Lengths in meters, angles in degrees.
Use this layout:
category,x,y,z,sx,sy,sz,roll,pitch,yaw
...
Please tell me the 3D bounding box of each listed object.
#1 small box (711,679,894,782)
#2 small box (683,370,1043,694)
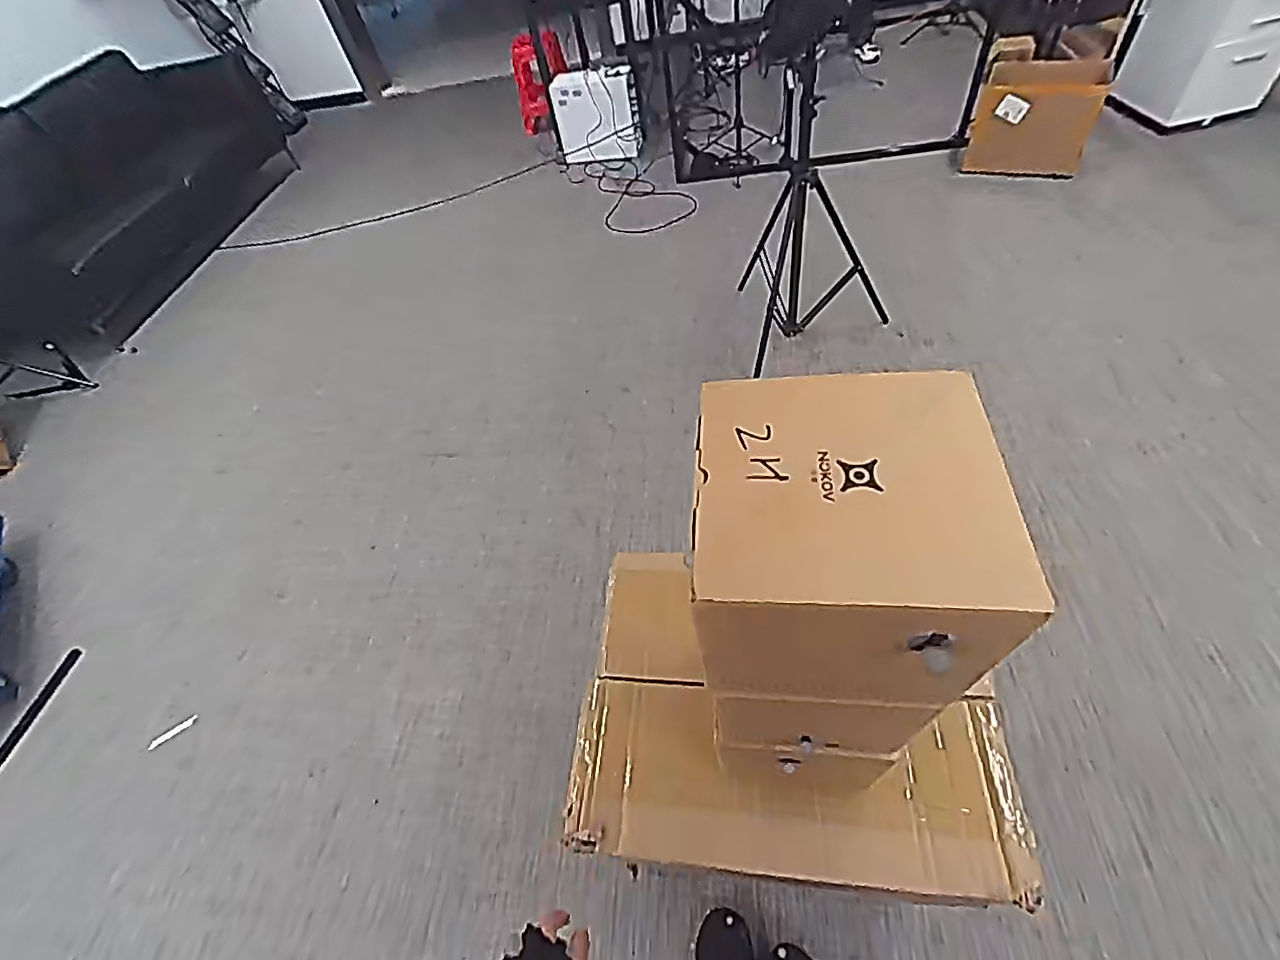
category,x,y,z,sx,sy,sz,roll,pitch,yaw
small box,0.178,0.245,0.636,0.179,0.176,0.168,0,53,11
small box,0.129,0.042,0.381,0.179,0.176,0.168,-1,53,11
